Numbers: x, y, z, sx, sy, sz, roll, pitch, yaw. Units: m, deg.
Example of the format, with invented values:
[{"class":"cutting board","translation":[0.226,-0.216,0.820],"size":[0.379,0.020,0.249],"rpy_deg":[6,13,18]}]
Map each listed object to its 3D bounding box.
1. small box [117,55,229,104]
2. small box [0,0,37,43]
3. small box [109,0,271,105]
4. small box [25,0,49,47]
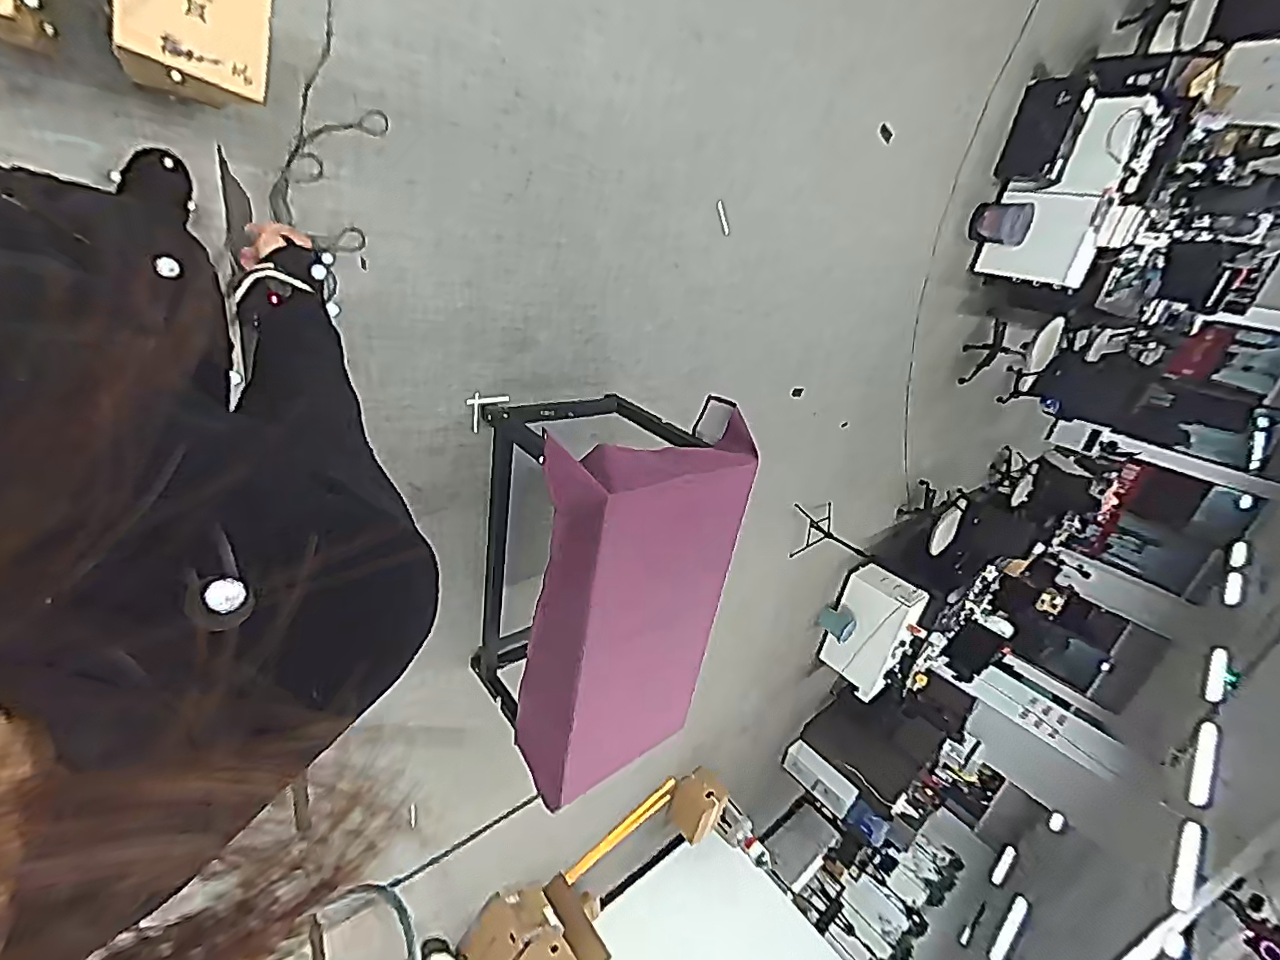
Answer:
[{"class":"small box","translation":[-0.860,-0.821,0.996],"size":[0.168,0.176,0.179],"rpy_deg":[-10,122,-40]},{"class":"small box","translation":[-0.942,-0.723,0.723],"size":[0.179,0.176,0.168],"rpy_deg":[0,115,-44]},{"class":"small box","translation":[-0.654,-0.682,0.786],"size":[0.168,0.176,0.179],"rpy_deg":[0,114,-44]},{"class":"small box","translation":[-1.038,-0.806,0.826],"size":[0.168,0.176,0.179],"rpy_deg":[-5,118,-42]}]
